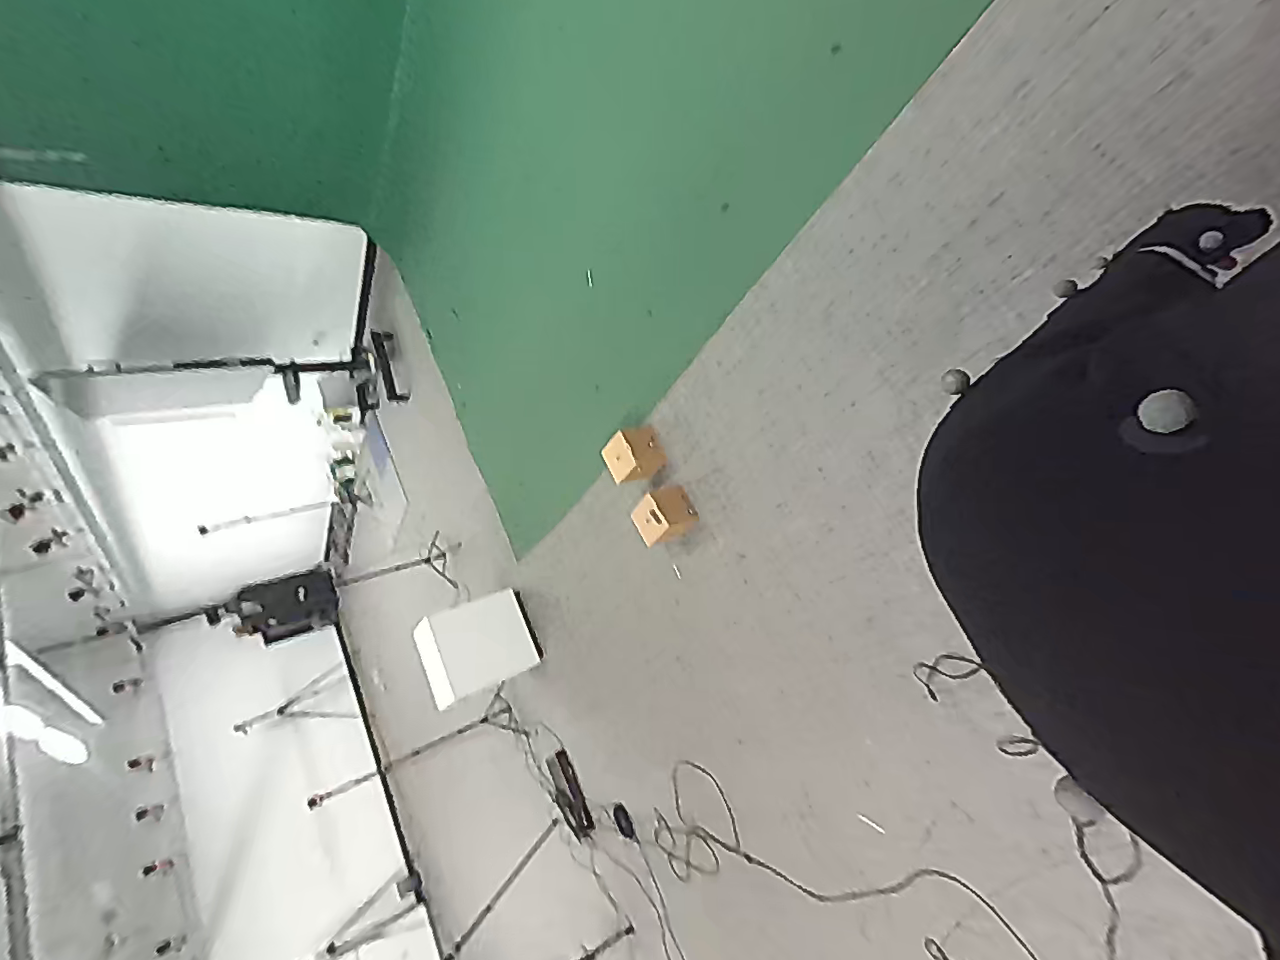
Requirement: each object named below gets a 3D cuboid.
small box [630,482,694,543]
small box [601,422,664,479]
[{"bbox_3d":[0.094,0.126,2.179,0.168,0.176,0.179,60,138,21],"label":"small box"},{"bbox_3d":[-0.030,-0.125,2.264,0.179,0.176,0.168,-46,65,45],"label":"small box"}]
